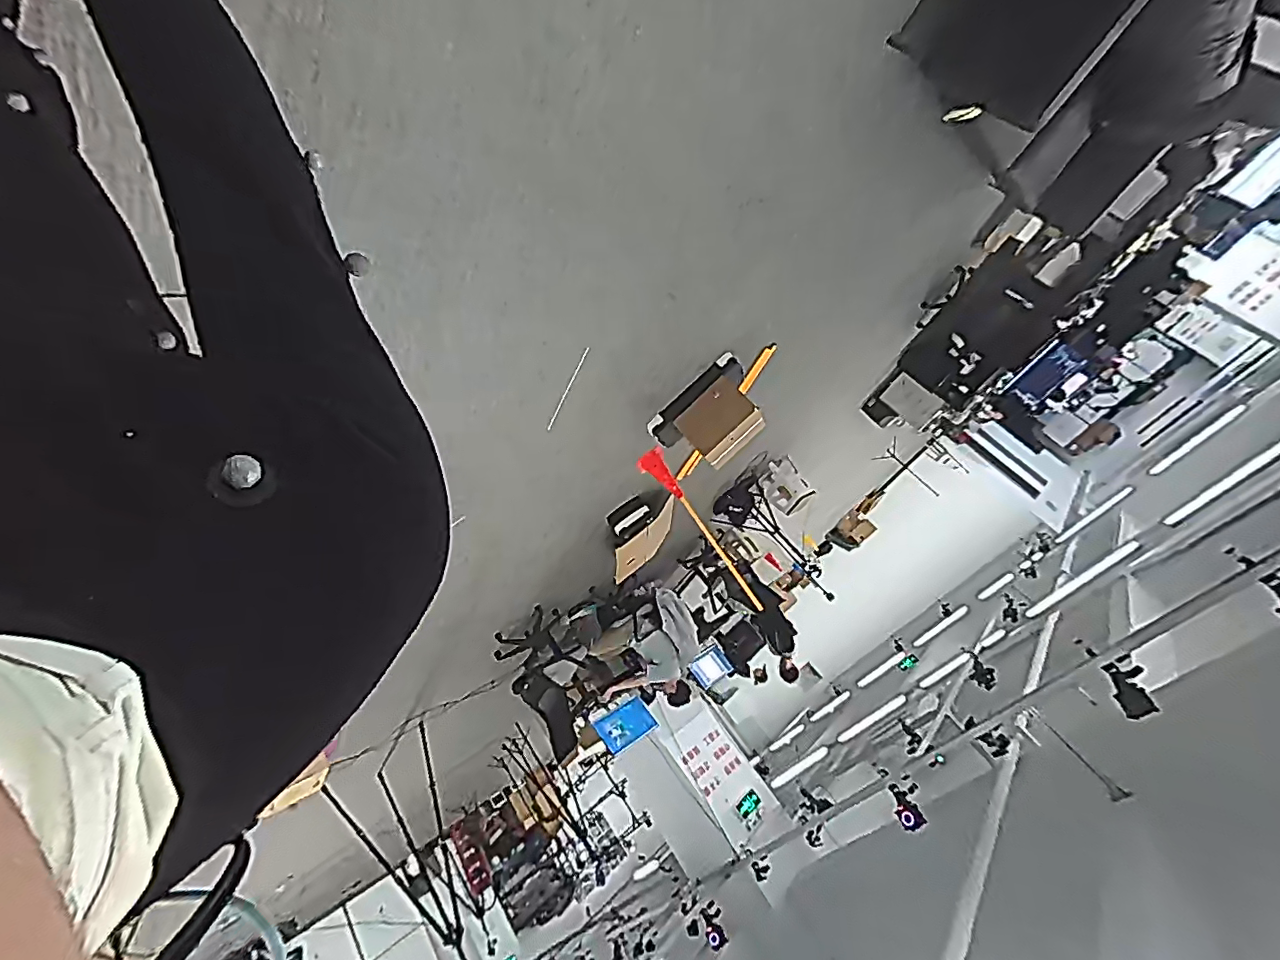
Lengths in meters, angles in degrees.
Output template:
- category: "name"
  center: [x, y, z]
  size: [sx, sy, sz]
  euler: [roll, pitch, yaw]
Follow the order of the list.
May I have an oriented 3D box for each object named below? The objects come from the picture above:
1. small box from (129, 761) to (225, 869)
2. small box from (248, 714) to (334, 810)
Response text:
- category: "small box"
  center: [-1.260, 0.905, 1.475]
  size: [0.168, 0.176, 0.179]
  euler: [-15, 148, -45]
- category: "small box"
  center: [-1.085, 0.867, 1.674]
  size: [0.179, 0.176, 0.168]
  euler: [-10, 143, -49]
